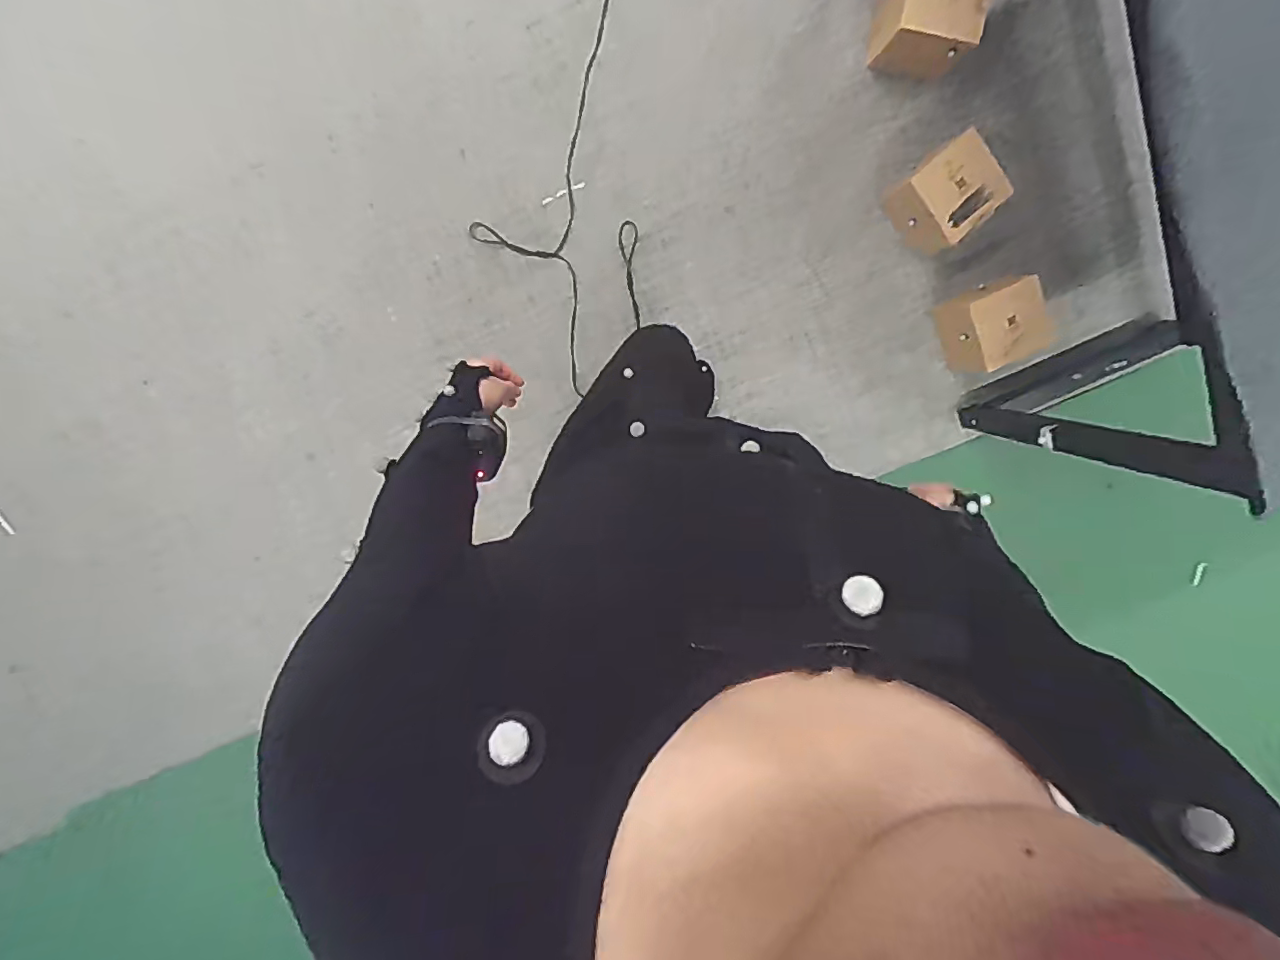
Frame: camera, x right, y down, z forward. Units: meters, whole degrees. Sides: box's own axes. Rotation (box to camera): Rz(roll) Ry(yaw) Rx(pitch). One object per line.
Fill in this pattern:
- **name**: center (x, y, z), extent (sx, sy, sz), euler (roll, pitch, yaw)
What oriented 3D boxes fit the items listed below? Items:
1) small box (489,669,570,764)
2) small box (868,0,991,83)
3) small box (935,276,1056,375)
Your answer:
- **small box**: center (-0.311, 0.673, 1.555), extent (0.179, 0.176, 0.168), euler (17, 103, -5)
- **small box**: center (0.621, -0.996, 1.165), extent (0.179, 0.176, 0.168), euler (8, 103, -4)
- **small box**: center (0.859, -0.373, 1.323), extent (0.168, 0.176, 0.179), euler (-25, 104, 5)
